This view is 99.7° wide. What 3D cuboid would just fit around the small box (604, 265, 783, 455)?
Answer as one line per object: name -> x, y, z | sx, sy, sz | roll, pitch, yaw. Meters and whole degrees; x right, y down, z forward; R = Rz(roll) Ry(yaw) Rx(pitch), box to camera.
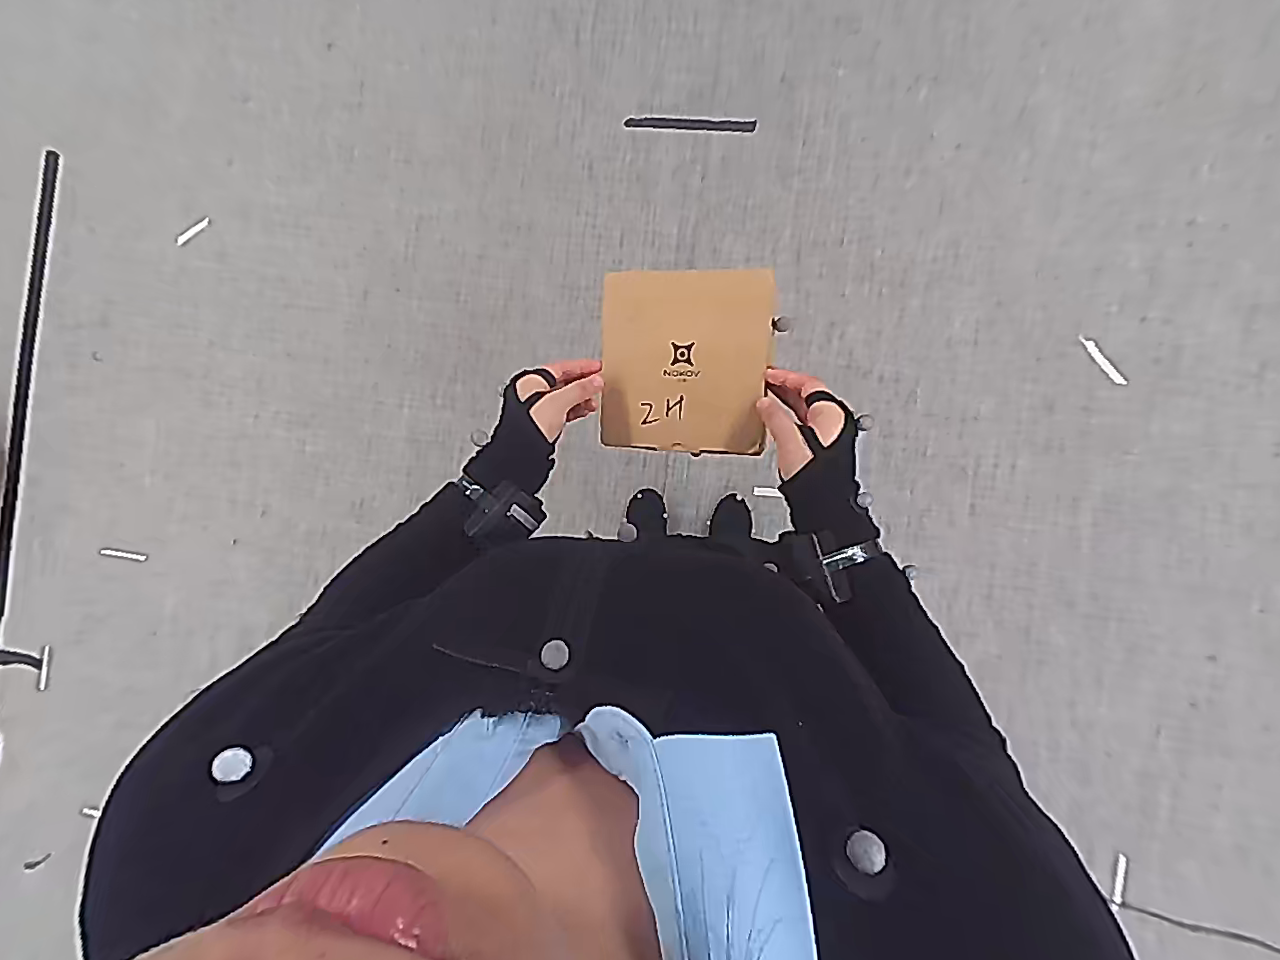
small box -> 0.067, -0.126, 0.599 | 0.168, 0.176, 0.179 | 5, 99, 16
